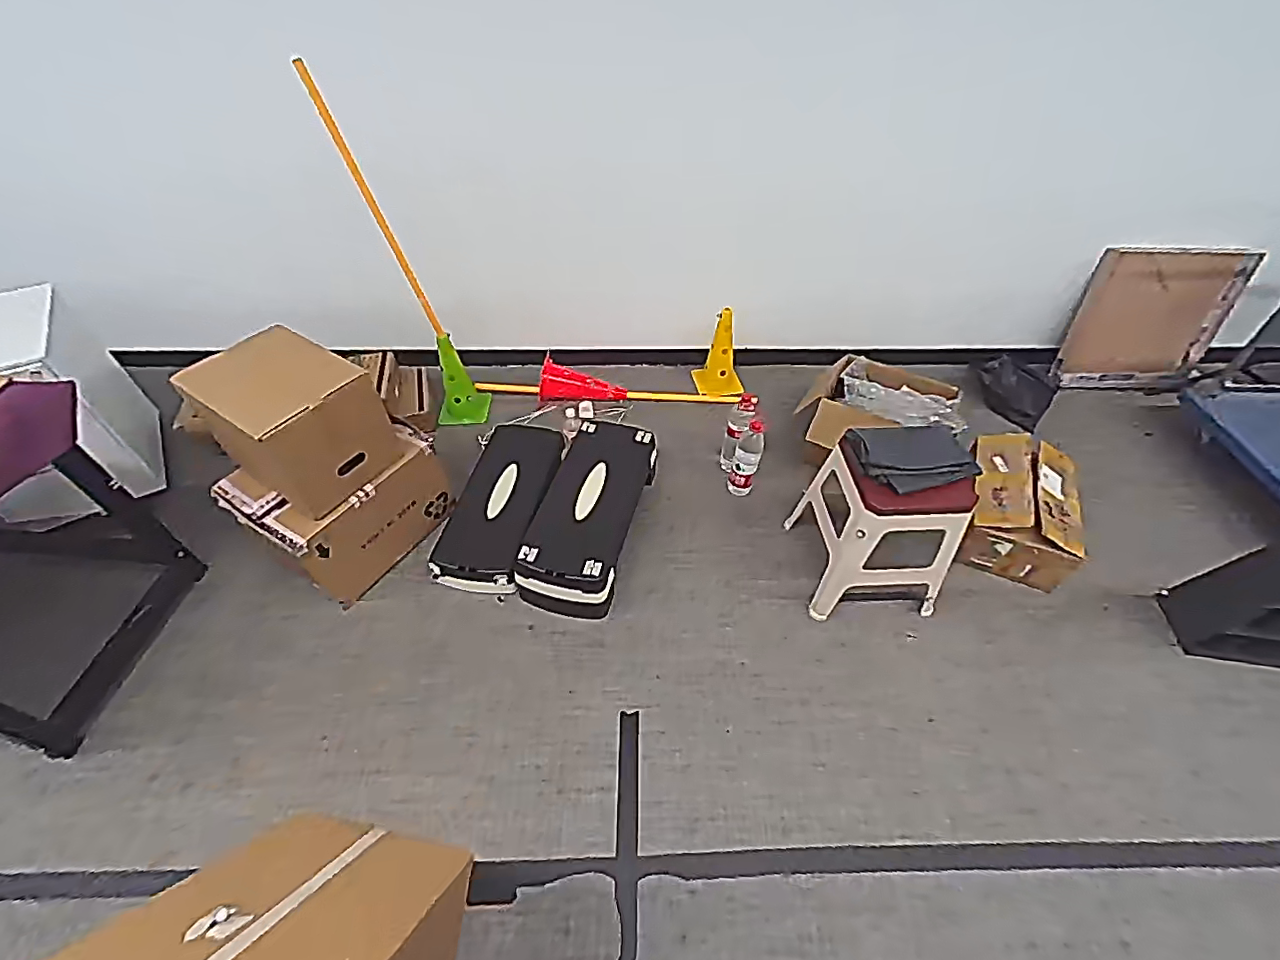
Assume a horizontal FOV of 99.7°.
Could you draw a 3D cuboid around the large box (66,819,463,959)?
[{"bbox_3d":[-0.472,0.701,0.668,0.320,0.408,0.320,7,81,8],"label":"large box"}]
